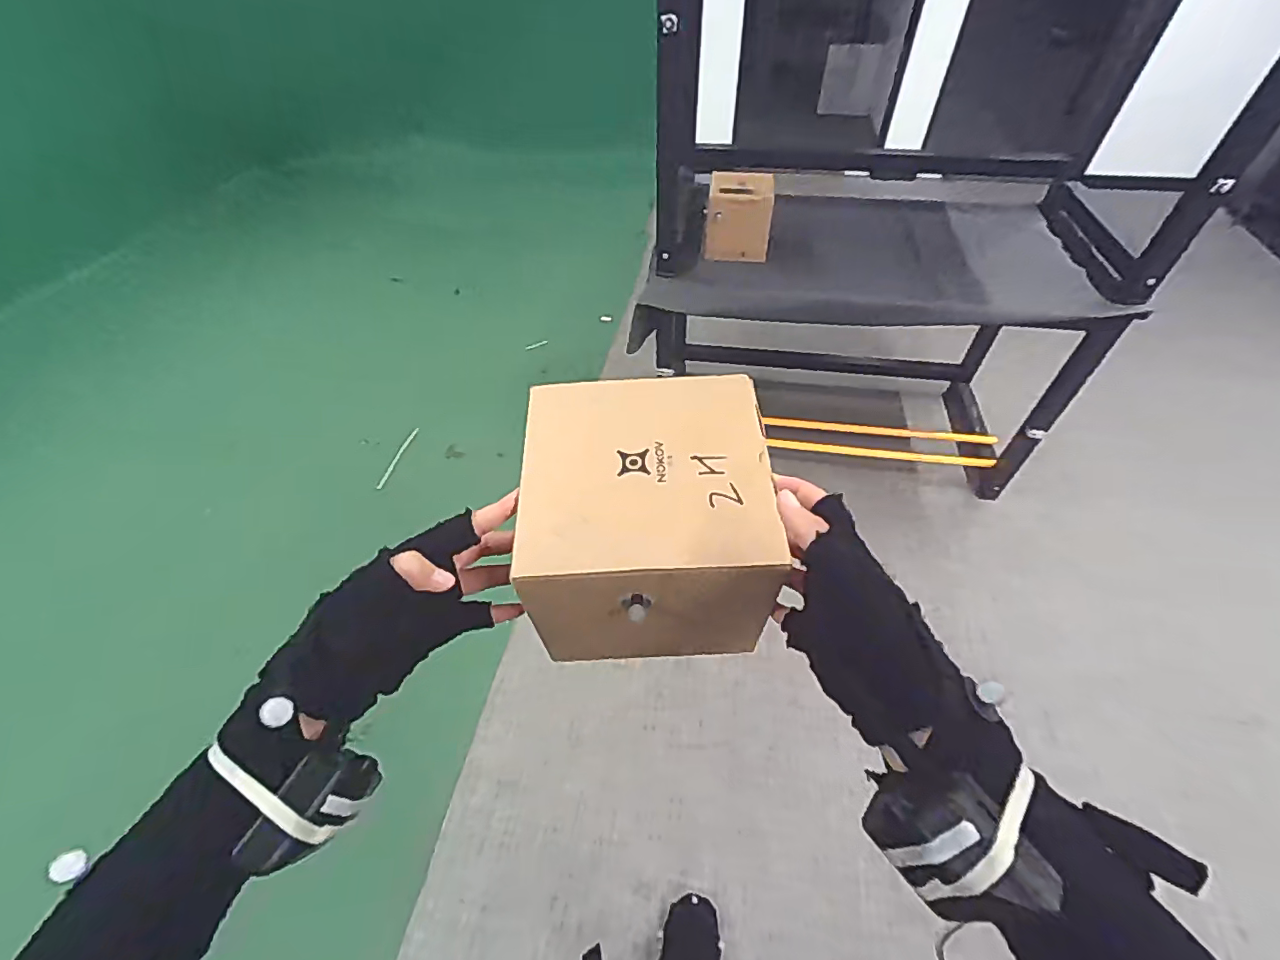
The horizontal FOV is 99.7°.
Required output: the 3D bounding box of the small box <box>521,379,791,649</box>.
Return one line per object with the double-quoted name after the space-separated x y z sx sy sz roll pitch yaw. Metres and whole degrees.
0.010 0.035 0.453 0.179 0.176 0.168 -2 55 0 "small box"
